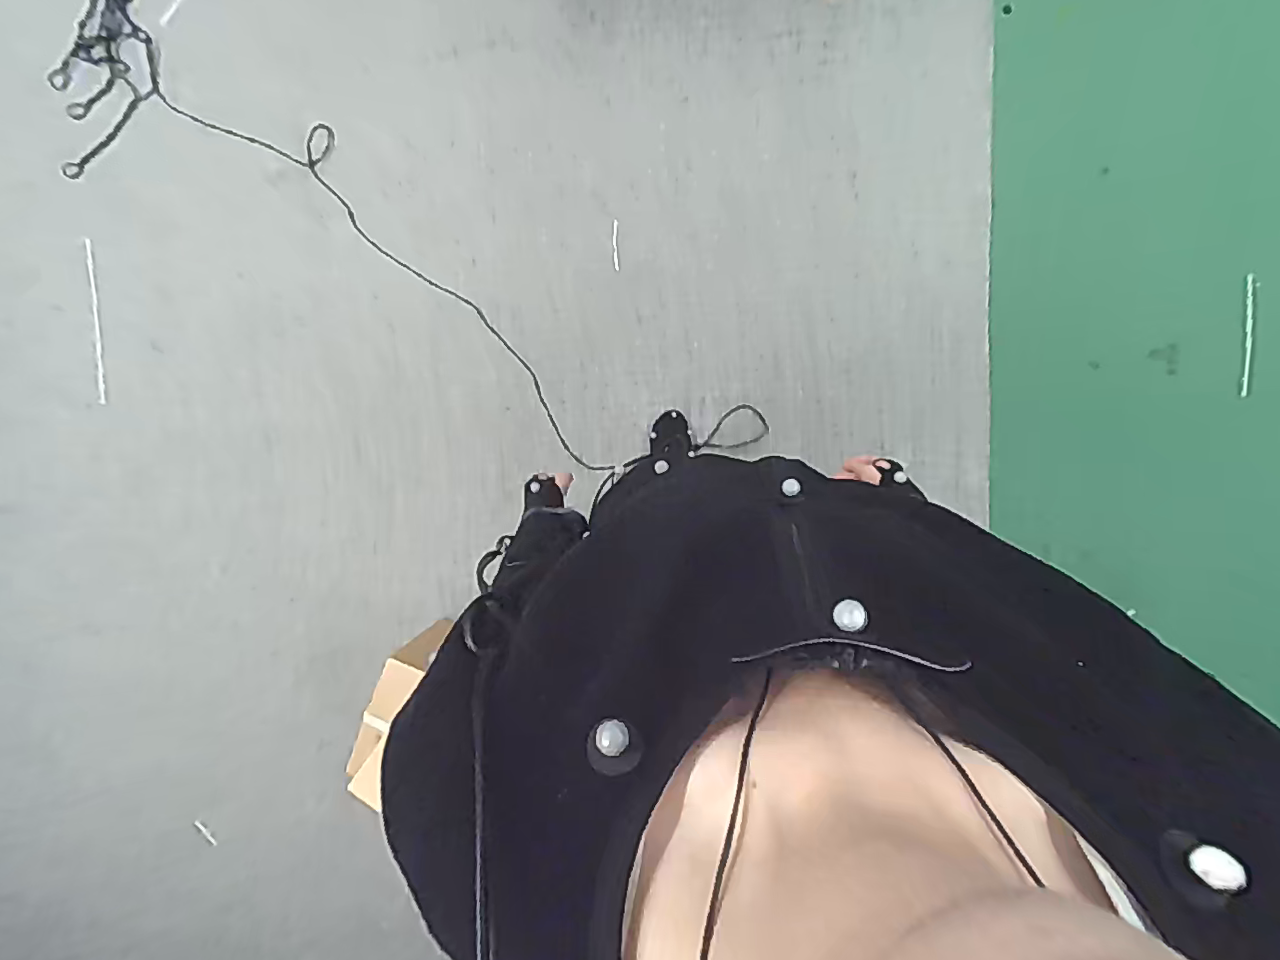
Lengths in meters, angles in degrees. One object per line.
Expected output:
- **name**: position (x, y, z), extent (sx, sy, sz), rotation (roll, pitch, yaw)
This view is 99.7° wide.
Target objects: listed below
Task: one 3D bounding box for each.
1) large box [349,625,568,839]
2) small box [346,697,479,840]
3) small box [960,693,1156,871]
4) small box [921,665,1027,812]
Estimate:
- **large box**: position (-0.448, 0.627, 1.412), extent (0.408, 0.320, 0.320), rotation (22, 95, 1)
- **small box**: position (-0.478, 0.611, 1.167), extent (0.168, 0.176, 0.179), rotation (35, 92, 2)
- **small box**: position (0.700, 0.505, 0.928), extent (0.168, 0.176, 0.179), rotation (-29, 89, 3)
- **small box**: position (0.715, 0.509, 1.091), extent (0.168, 0.176, 0.179), rotation (-34, 90, 3)
